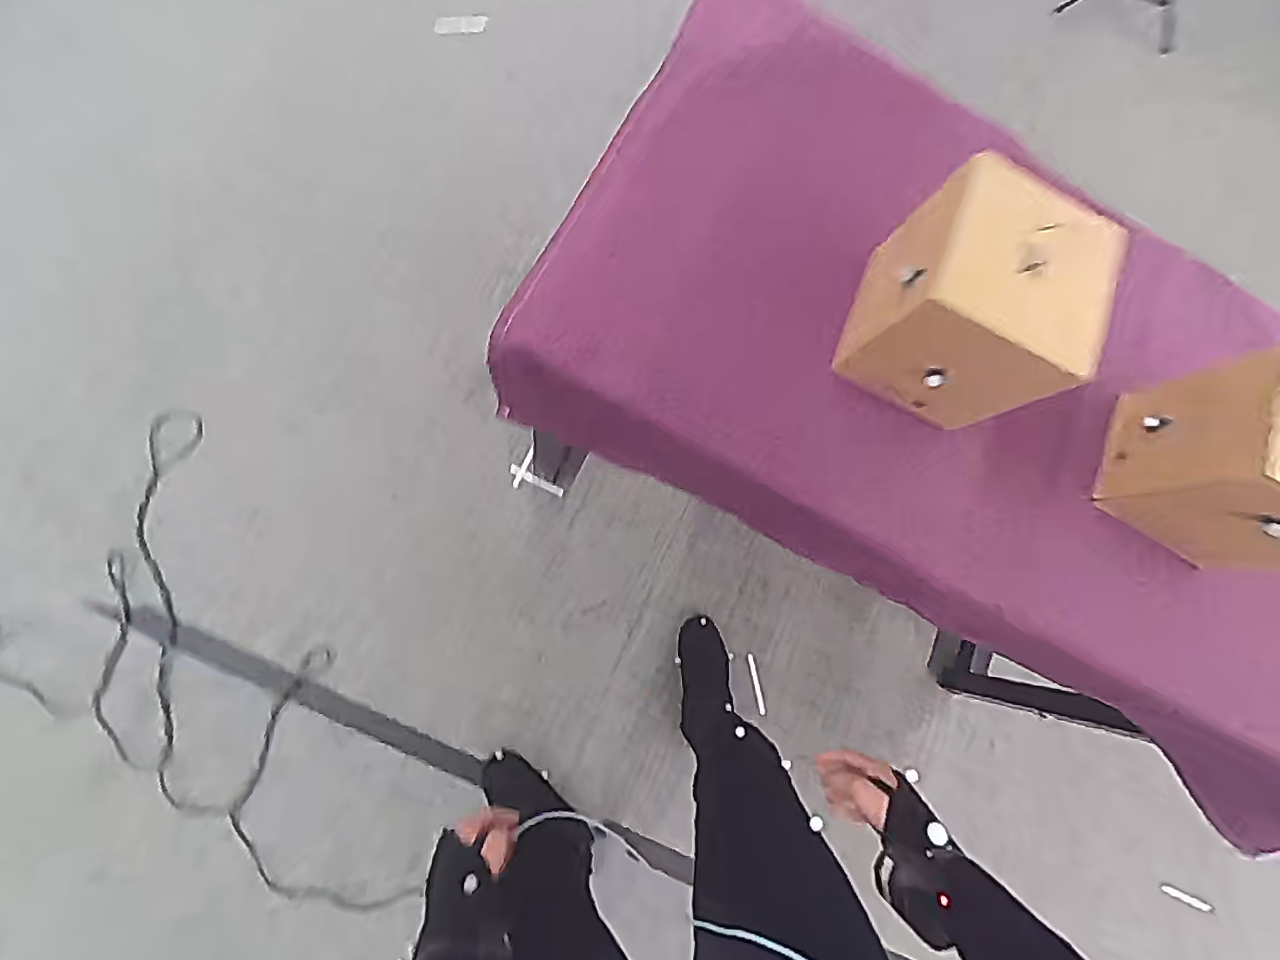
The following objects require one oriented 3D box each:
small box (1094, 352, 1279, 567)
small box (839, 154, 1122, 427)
[{"bbox_3d":[0.671,-0.013,0.601,0.179,0.176,0.168,30,75,-4],"label":"small box"},{"bbox_3d":[0.337,-0.178,0.565,0.168,0.176,0.179,26,75,-6],"label":"small box"}]
